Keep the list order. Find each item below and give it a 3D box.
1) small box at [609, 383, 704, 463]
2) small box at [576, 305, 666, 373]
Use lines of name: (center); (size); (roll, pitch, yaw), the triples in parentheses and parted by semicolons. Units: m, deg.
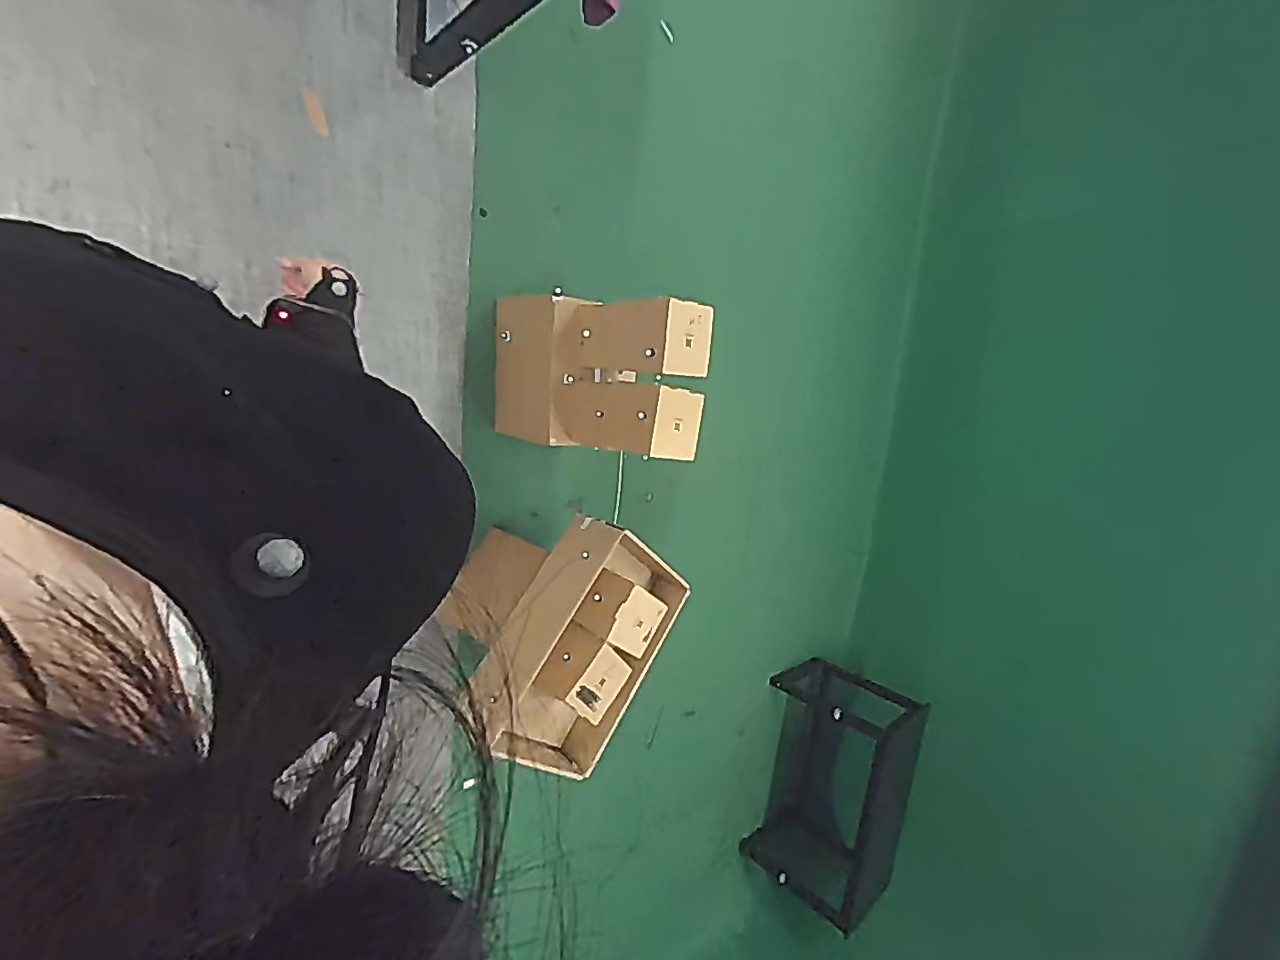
small box: (0.038, -0.148, 1.393); (0.168, 0.176, 0.179); (3, 97, -44)
small box: (-0.053, -0.382, 1.473); (0.179, 0.176, 0.168); (-10, 107, -42)
